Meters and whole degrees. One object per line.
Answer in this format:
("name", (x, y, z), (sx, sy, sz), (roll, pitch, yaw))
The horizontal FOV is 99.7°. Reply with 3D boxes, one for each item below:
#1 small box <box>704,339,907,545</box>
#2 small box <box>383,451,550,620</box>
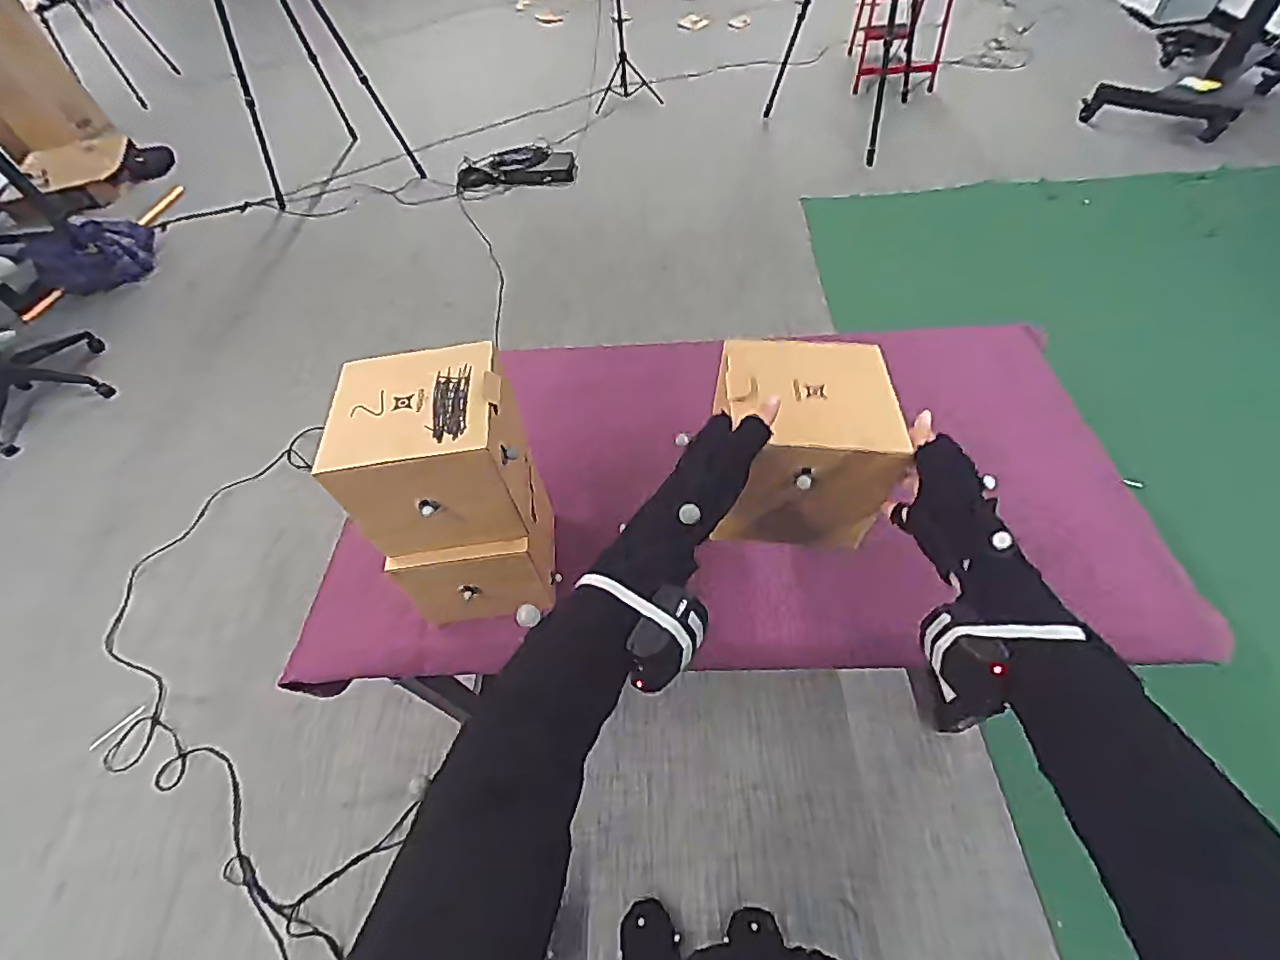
("small box", (0.172, -0.039, 0.623), (0.179, 0.176, 0.168), (4, 51, 2))
("small box", (-0.224, 0.081, 0.756), (0.179, 0.176, 0.168), (-7, 53, 0))
